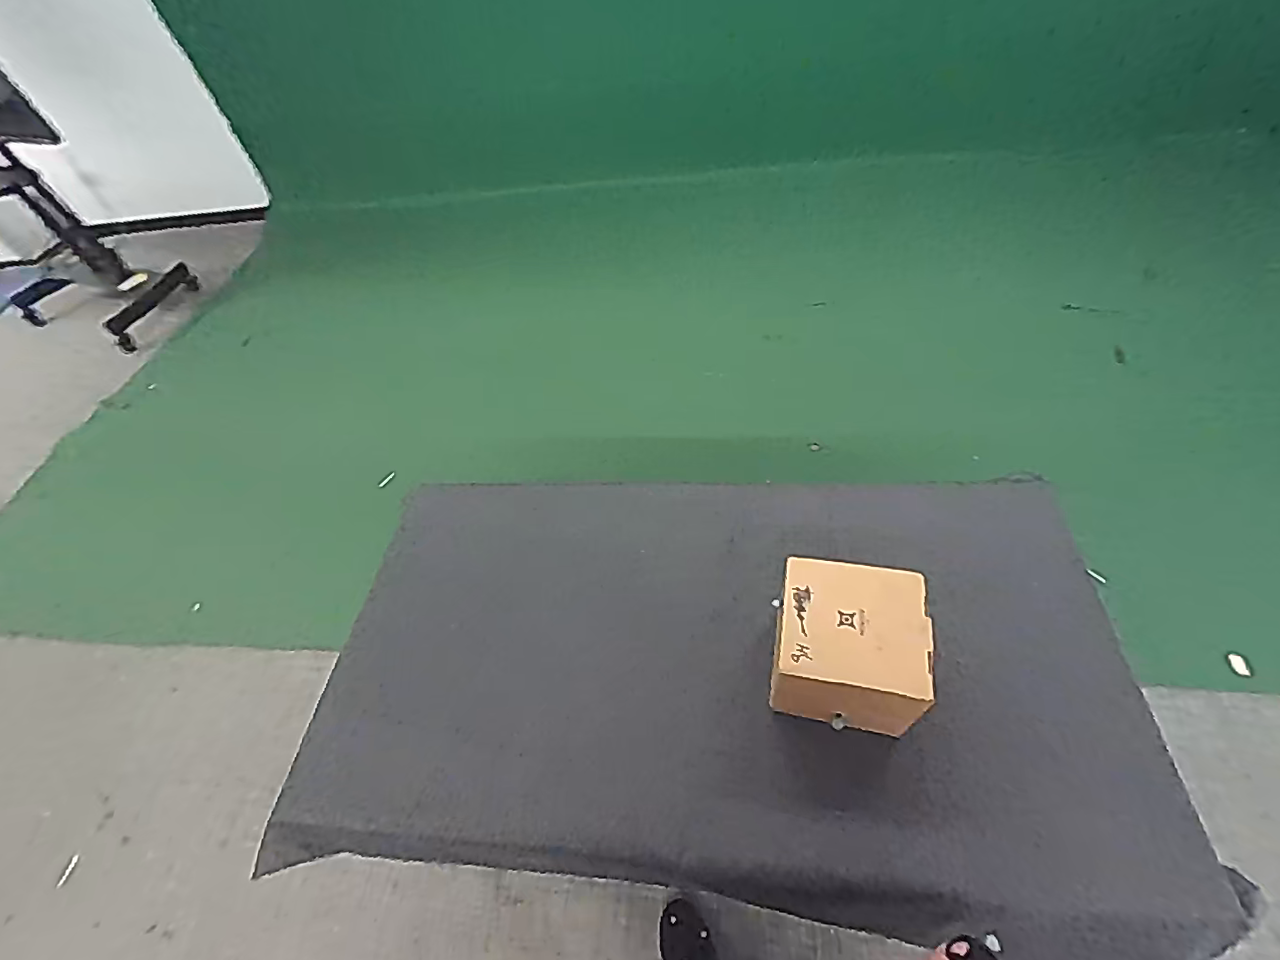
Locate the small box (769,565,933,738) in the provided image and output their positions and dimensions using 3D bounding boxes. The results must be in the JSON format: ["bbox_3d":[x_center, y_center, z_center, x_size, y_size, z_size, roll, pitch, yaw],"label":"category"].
[{"bbox_3d":[0.280,0.240,0.745,0.179,0.176,0.168,7,53,14],"label":"small box"}]
